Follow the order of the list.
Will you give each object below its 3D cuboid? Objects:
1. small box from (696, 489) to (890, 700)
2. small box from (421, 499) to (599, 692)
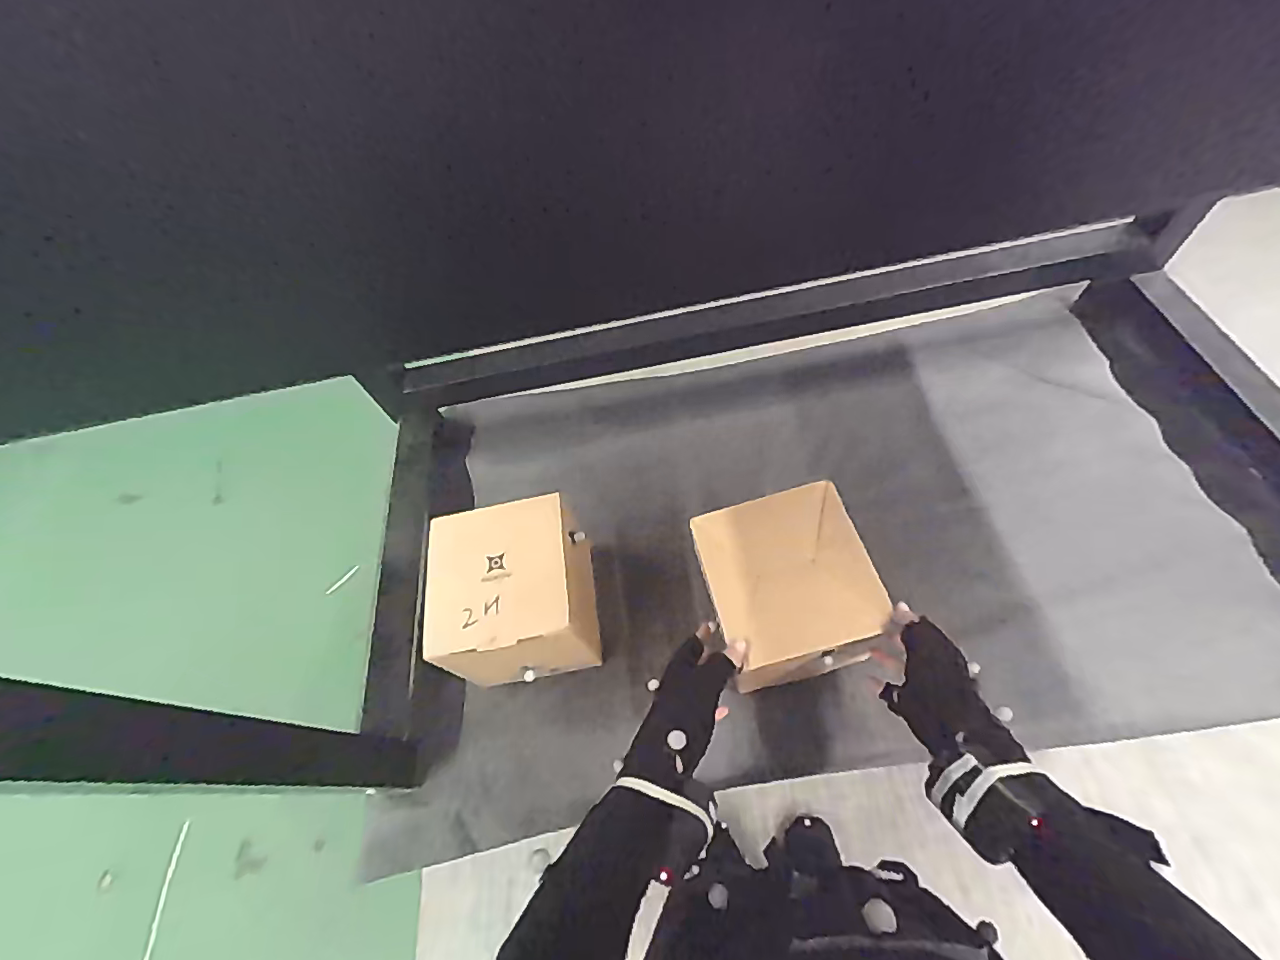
[{"bbox_3d":[0.166,0.135,0.633,0.168,0.176,0.179,-16,58,1],"label":"small box"},{"bbox_3d":[-0.153,0.151,0.685,0.168,0.176,0.179,-12,57,3],"label":"small box"}]
